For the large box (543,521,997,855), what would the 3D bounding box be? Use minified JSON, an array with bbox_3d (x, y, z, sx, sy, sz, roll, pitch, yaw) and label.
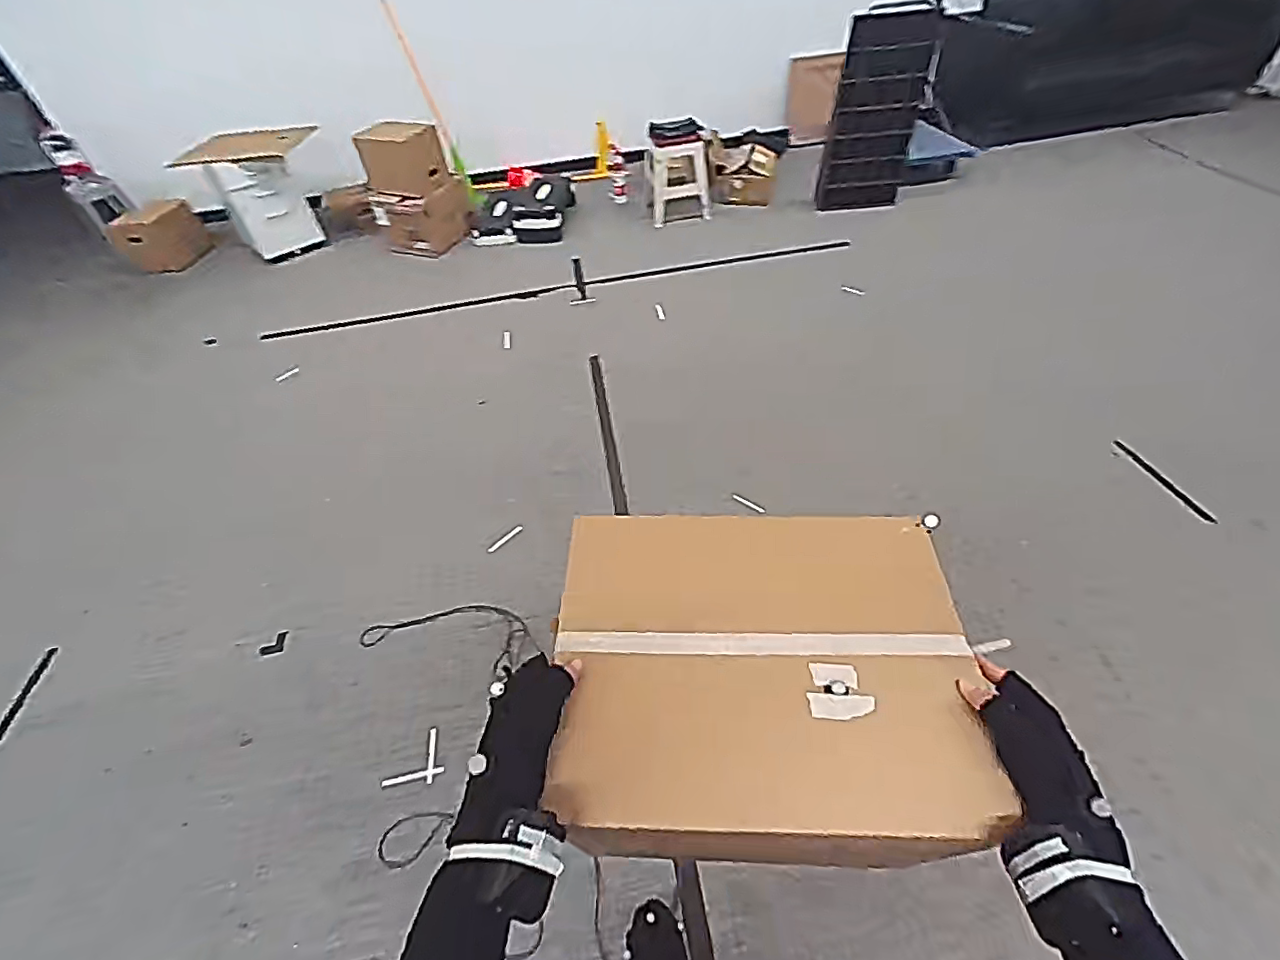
[{"bbox_3d":[0.115,0.266,0.675,0.408,0.320,0.320,-1,52,2],"label":"large box"}]
